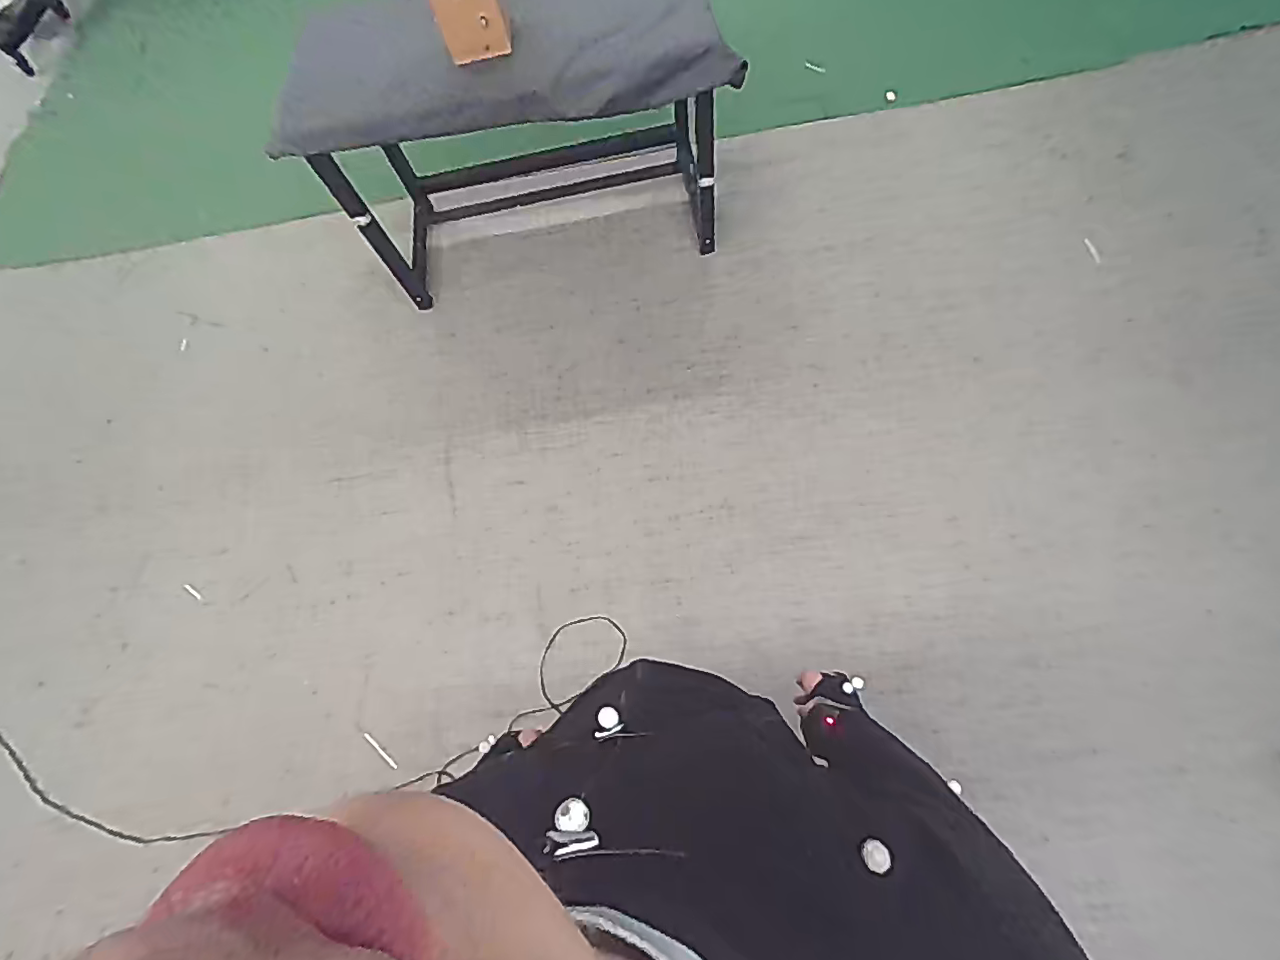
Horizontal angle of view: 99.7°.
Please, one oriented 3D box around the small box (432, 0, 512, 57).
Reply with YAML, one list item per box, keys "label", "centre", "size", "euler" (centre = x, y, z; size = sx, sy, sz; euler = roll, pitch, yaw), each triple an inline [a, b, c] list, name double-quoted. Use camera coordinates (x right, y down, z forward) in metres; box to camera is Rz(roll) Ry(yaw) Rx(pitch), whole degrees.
- label: "small box"
  centre: [-0.447, -1.272, 1.449]
  size: [0.168, 0.176, 0.179]
  euler: [-9, 66, 2]
